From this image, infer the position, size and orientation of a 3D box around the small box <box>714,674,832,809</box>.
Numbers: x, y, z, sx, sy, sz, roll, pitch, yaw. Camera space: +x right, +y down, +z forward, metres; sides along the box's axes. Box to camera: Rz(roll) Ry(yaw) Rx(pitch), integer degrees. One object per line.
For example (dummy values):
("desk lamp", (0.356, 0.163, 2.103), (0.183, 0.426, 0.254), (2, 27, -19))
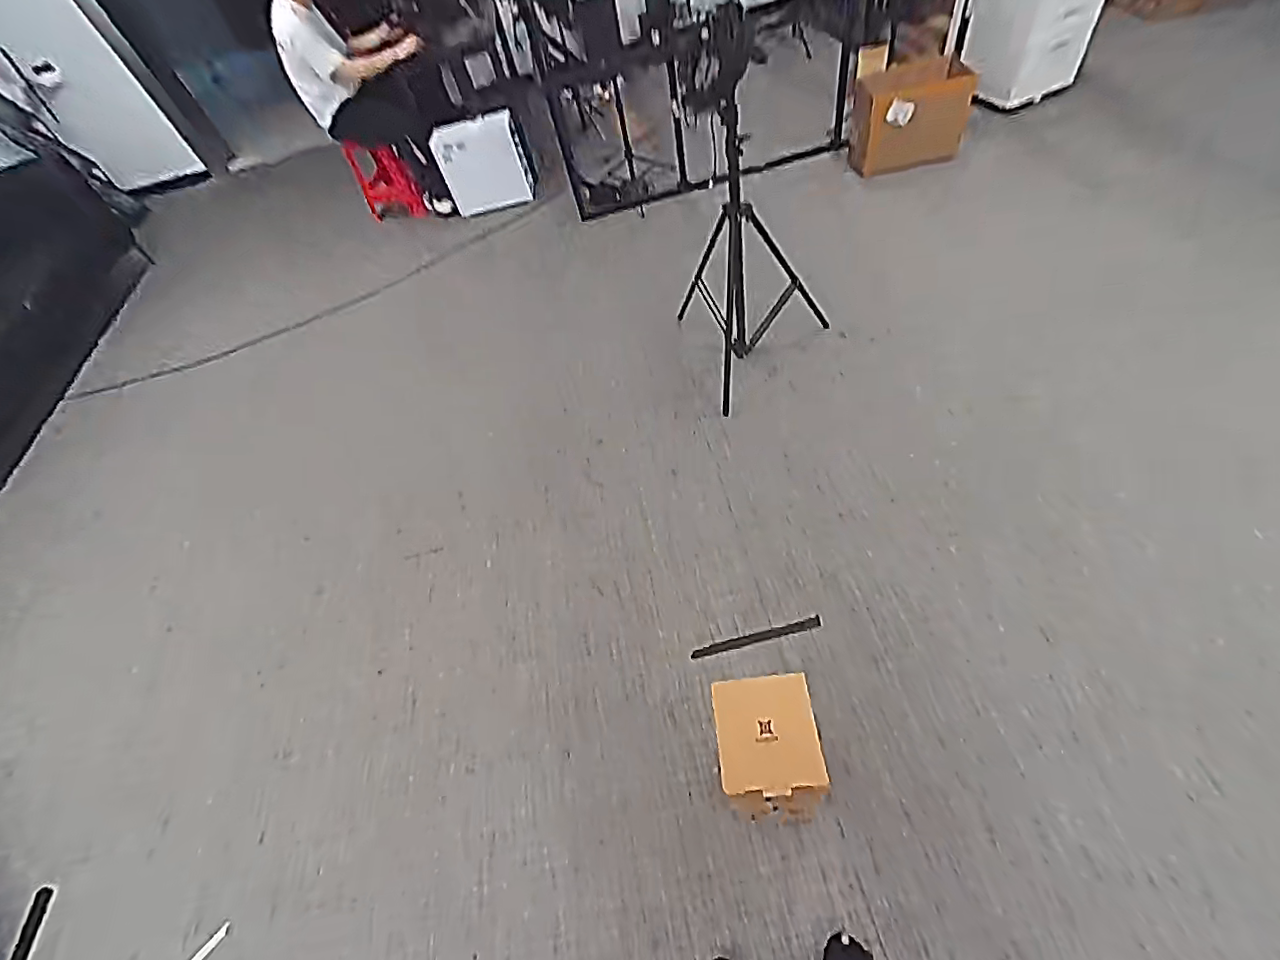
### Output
("small box", (0.226, 0.464, 0.953), (0.168, 0.176, 0.179), (-10, 52, 7))

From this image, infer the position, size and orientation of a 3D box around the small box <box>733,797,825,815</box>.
("small box", (0.262, 0.560, 1.079), (0.168, 0.176, 0.179), (-9, 52, 7))
